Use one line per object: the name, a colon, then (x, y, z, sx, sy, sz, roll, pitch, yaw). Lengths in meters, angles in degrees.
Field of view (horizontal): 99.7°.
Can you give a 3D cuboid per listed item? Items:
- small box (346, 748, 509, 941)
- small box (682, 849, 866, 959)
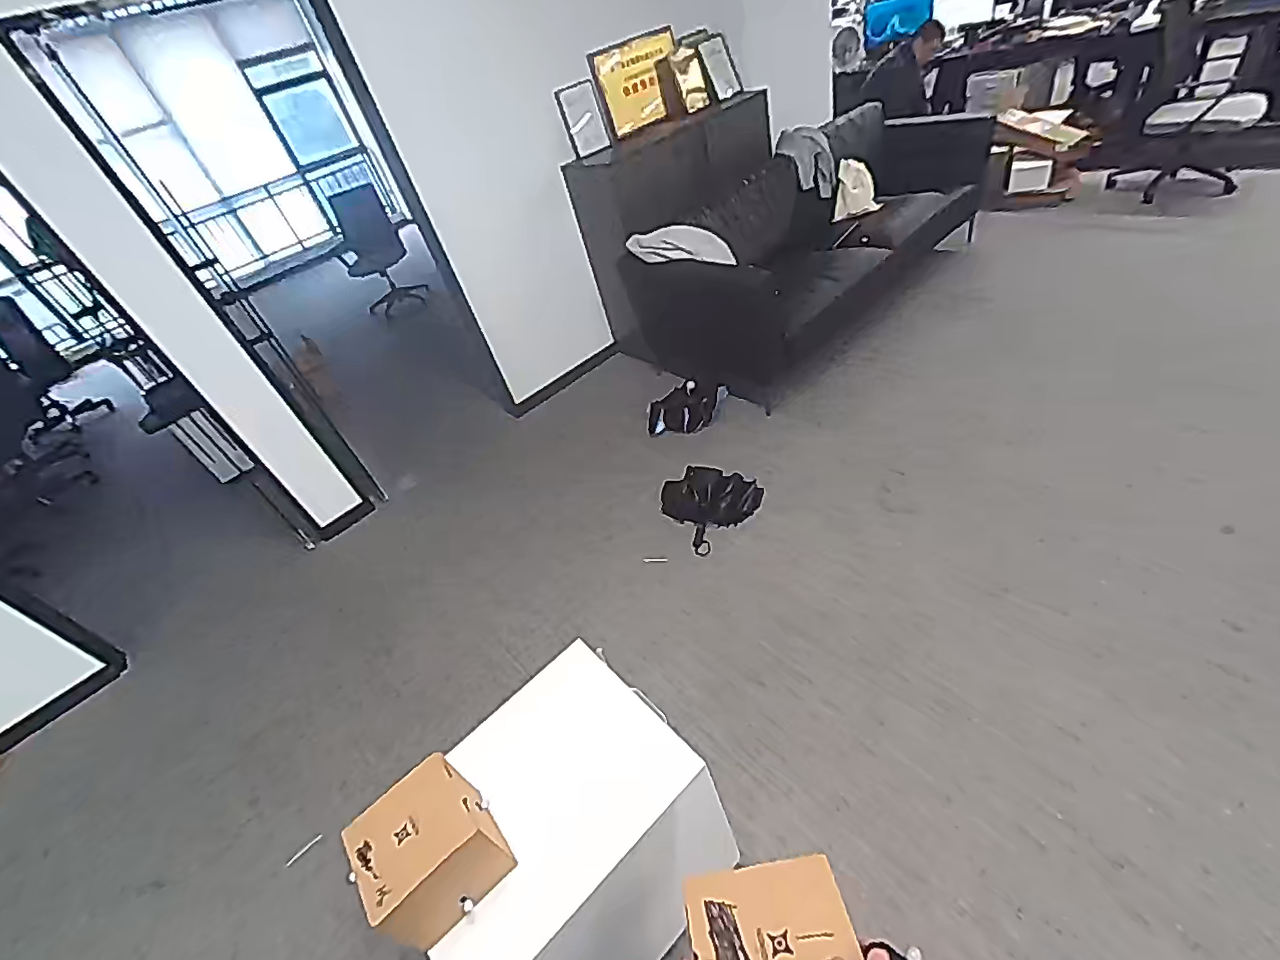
small box: (-0.334, 0.590, 0.881, 0.179, 0.176, 0.168, -36, 43, -23)
small box: (0.153, 0.551, 0.587, 0.179, 0.176, 0.168, -11, 18, 2)
